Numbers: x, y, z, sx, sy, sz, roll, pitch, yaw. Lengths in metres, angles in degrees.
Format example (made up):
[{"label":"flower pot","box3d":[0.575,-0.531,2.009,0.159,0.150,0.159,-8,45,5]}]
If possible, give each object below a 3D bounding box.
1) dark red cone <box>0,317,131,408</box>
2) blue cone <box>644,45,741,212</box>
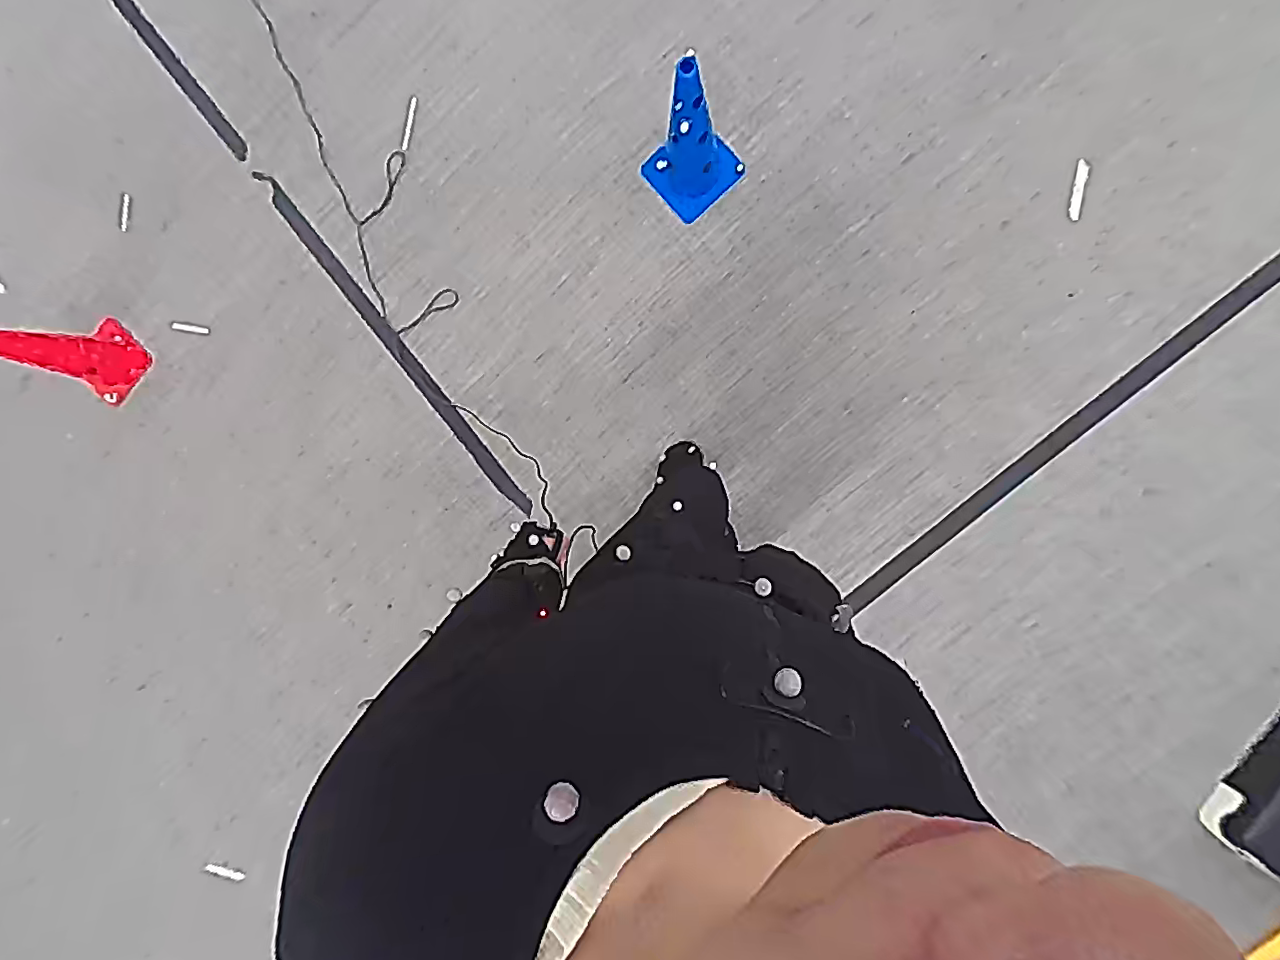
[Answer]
[{"label":"dark red cone","box3d":[-1.584,-0.334,1.381,0.202,0.394,0.201,42,95,5]},{"label":"blue cone","box3d":[0.107,-0.781,1.181,0.192,0.380,0.193,-40,86,5]}]
